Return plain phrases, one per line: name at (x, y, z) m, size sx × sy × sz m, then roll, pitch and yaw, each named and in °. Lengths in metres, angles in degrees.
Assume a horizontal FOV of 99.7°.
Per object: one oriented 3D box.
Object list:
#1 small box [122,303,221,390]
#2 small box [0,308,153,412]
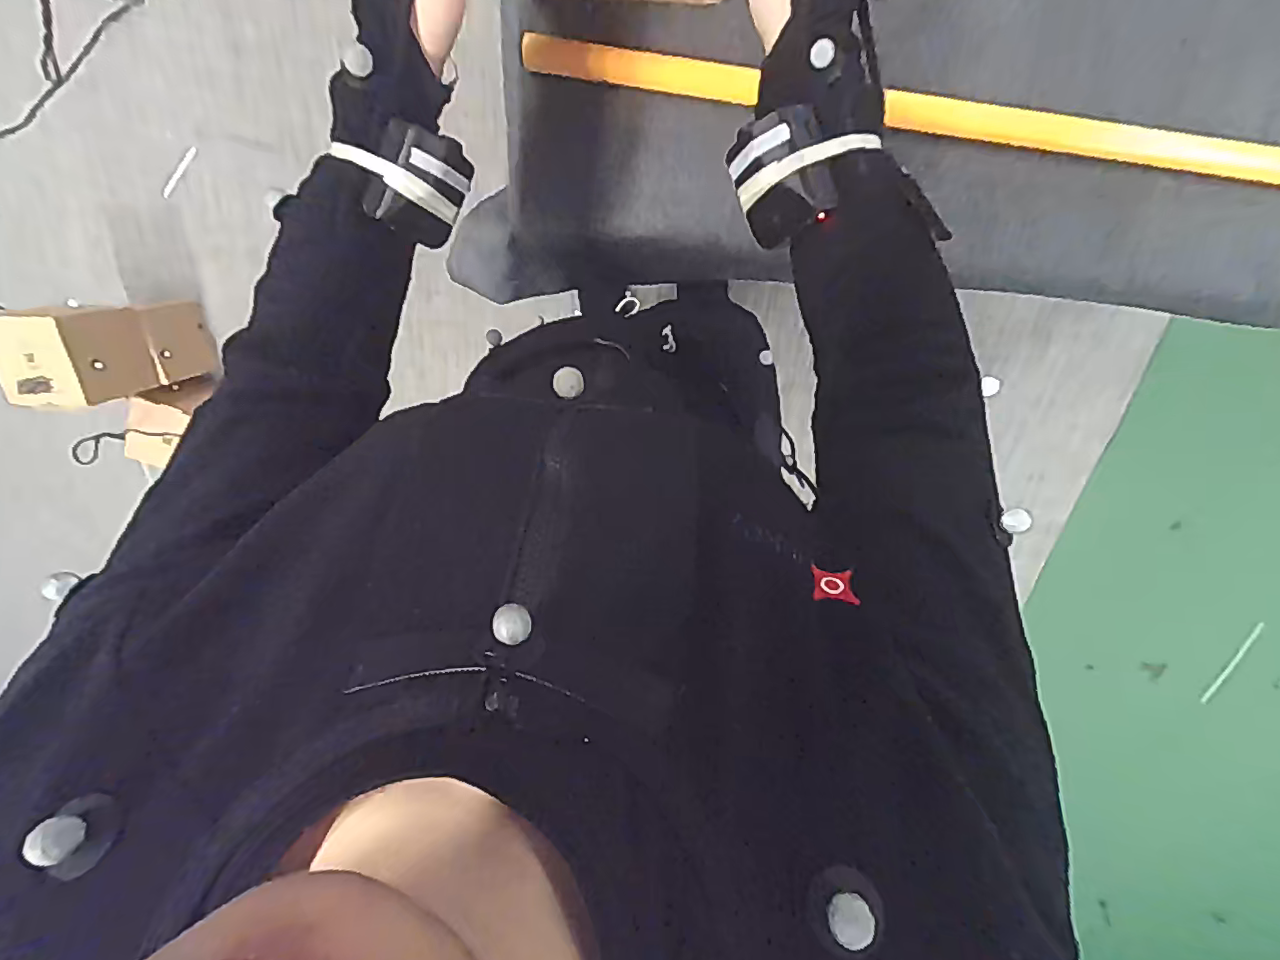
small box at (-1.149, -0.312, 1.265) m, size 0.179 × 0.176 × 0.168 m, roll -4°, pitch 118°, yaw 6°
small box at (-1.166, -0.250, 1.110) m, size 0.168 × 0.176 × 0.179 m, roll 2°, pitch 114°, yaw 2°
